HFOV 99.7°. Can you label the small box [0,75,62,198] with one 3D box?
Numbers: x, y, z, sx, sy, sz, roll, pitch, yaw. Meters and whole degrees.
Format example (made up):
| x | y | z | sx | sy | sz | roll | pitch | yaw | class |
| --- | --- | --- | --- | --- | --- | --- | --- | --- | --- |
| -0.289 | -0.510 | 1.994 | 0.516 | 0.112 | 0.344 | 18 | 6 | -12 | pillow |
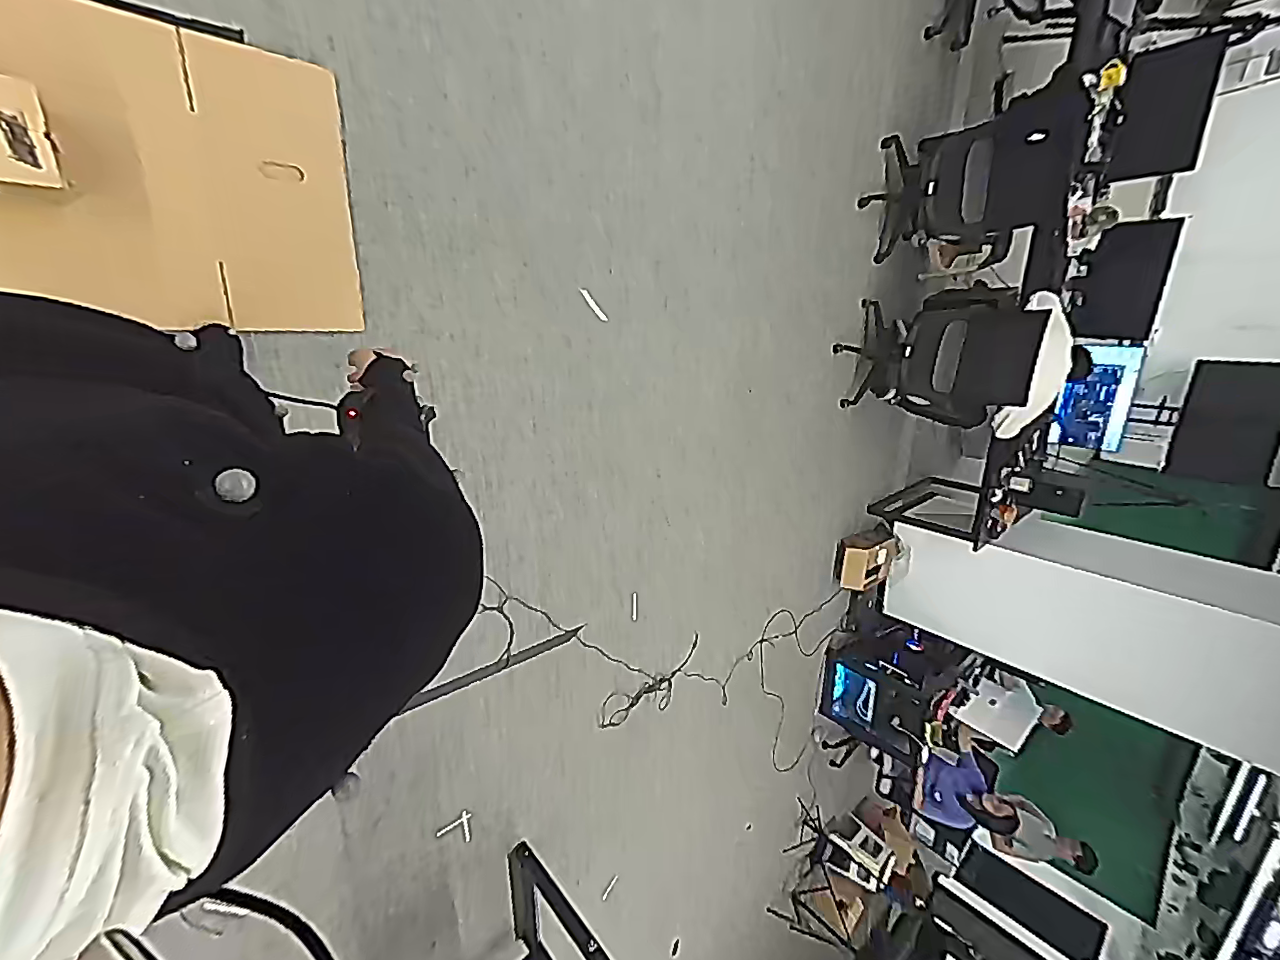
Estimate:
| x | y | z | sx | sy | sz | roll | pitch | yaw | class |
| --- | --- | --- | --- | --- | --- | --- | --- | --- | --- |
| -1.144 | -0.598 | 0.935 | 0.179 | 0.176 | 0.168 | -13 | 111 | -39 | small box |
